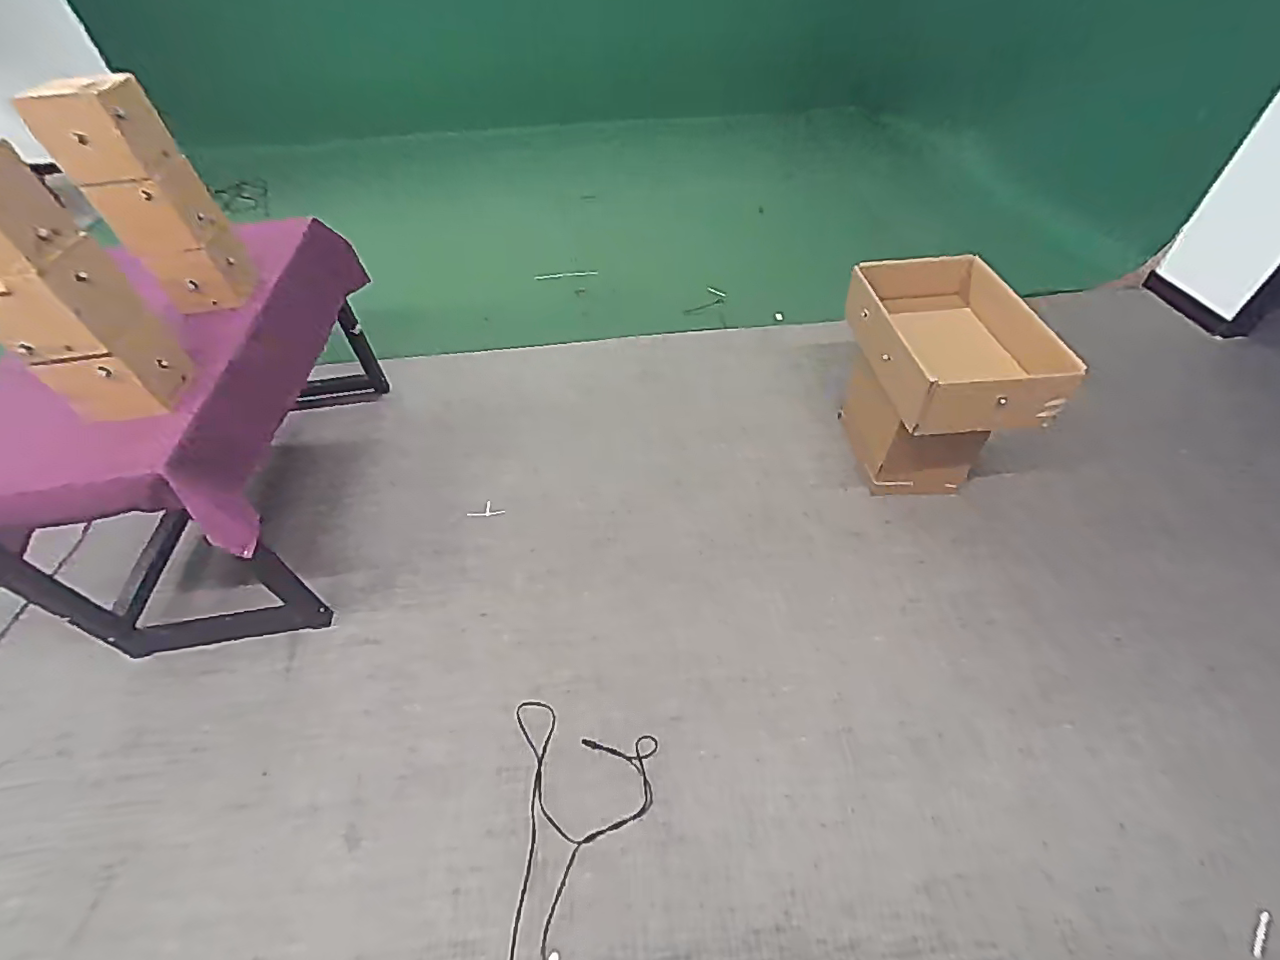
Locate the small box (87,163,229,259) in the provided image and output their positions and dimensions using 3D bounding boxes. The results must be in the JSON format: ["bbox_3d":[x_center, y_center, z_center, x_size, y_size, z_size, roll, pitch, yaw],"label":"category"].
[{"bbox_3d":[-1.199,-0.674,1.363,0.179,0.176,0.168,-7,48,-3],"label":"small box"}]

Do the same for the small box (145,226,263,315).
[{"bbox_3d":[-1.185,-0.569,1.488,0.168,0.176,0.179,-9,49,-4],"label":"small box"}]

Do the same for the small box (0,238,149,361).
[{"bbox_3d":[-1.137,-0.349,1.067,0.168,0.176,0.179,-8,48,-4],"label":"small box"}]

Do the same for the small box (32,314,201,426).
[{"bbox_3d":[-1.130,-0.240,1.190,0.179,0.176,0.168,-8,48,-3],"label":"small box"}]

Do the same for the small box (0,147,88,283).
[{"bbox_3d":[-1.155,-0.456,0.944,0.179,0.176,0.168,-9,49,-5],"label":"small box"}]
